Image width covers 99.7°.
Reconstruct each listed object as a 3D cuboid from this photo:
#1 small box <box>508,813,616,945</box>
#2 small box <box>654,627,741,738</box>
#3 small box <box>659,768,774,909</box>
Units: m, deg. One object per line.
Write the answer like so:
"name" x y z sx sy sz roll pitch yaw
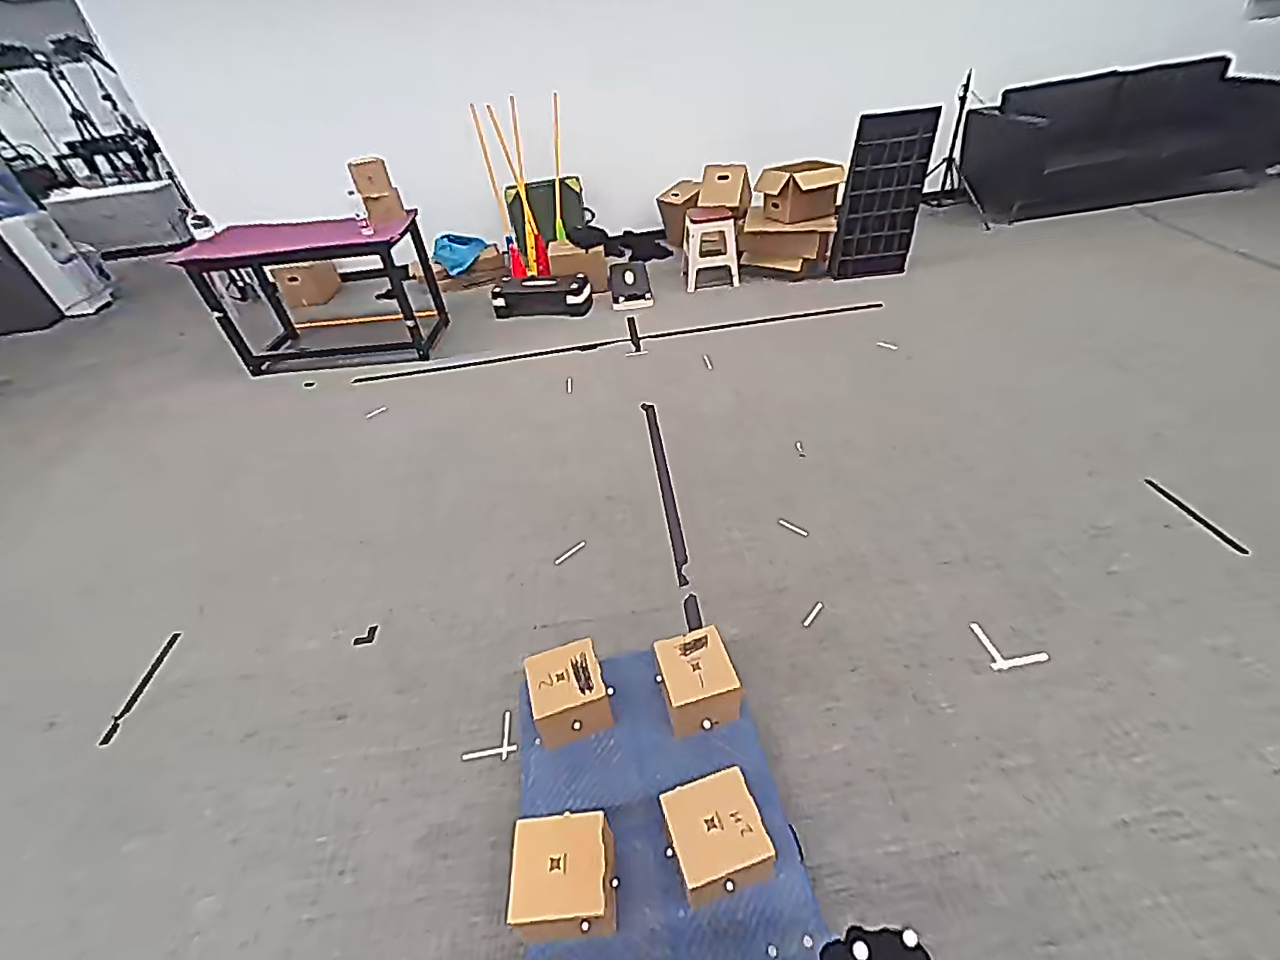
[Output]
"small box" -0.145 0.782 1.058 0.179 0.176 0.168 -6 40 -1
"small box" 0.138 0.501 1.339 0.168 0.176 0.179 -14 42 -8
"small box" 0.151 0.721 1.083 0.179 0.176 0.168 -16 41 -9
